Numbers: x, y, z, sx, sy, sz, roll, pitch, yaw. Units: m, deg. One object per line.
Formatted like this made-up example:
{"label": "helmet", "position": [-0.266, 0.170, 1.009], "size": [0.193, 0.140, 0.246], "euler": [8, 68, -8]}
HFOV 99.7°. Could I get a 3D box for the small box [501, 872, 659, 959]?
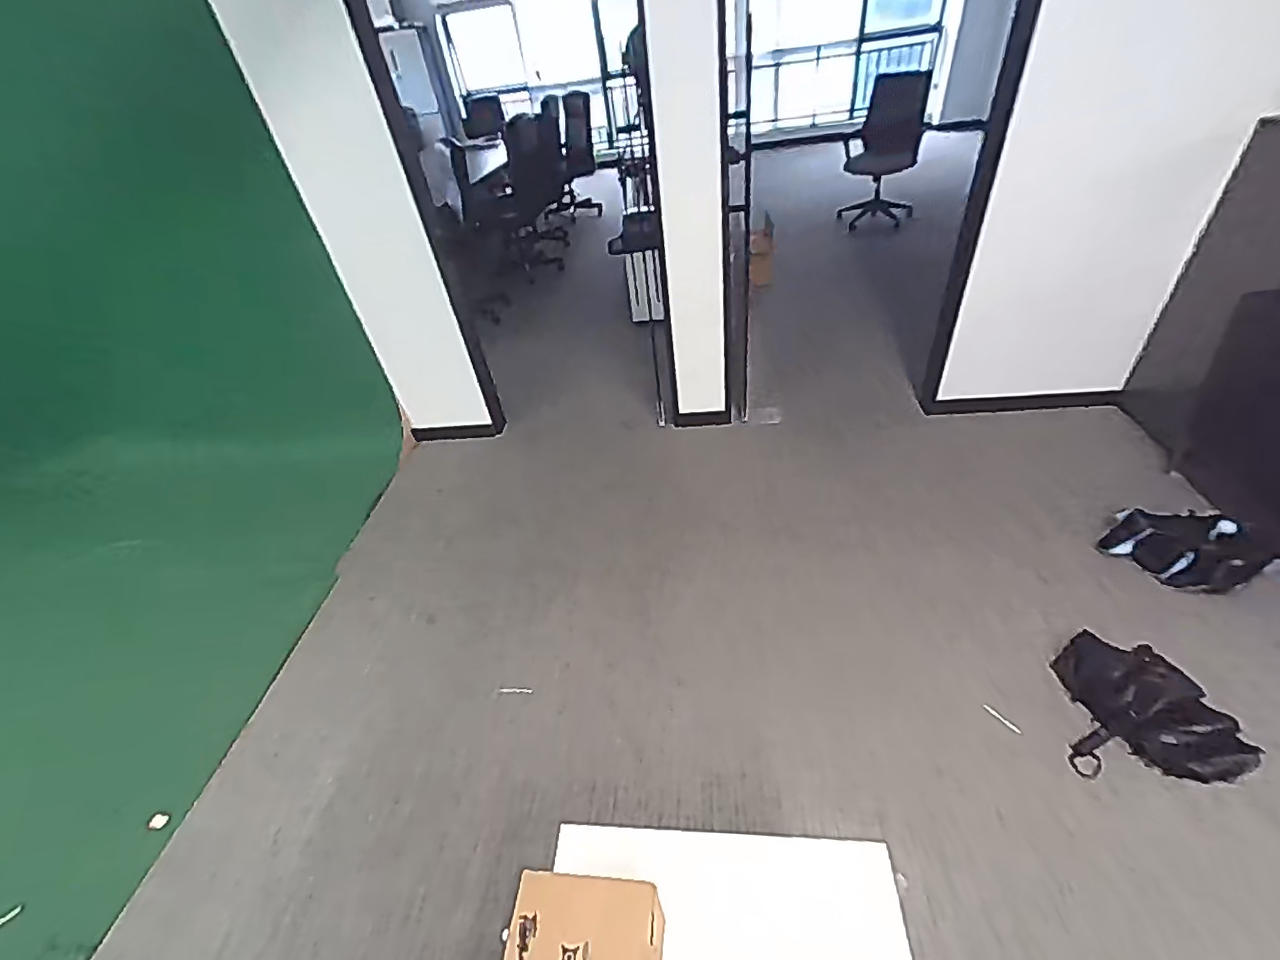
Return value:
{"label": "small box", "position": [-0.070, 0.617, 0.672], "size": [0.179, 0.176, 0.168], "euler": [0, 40, 8]}
